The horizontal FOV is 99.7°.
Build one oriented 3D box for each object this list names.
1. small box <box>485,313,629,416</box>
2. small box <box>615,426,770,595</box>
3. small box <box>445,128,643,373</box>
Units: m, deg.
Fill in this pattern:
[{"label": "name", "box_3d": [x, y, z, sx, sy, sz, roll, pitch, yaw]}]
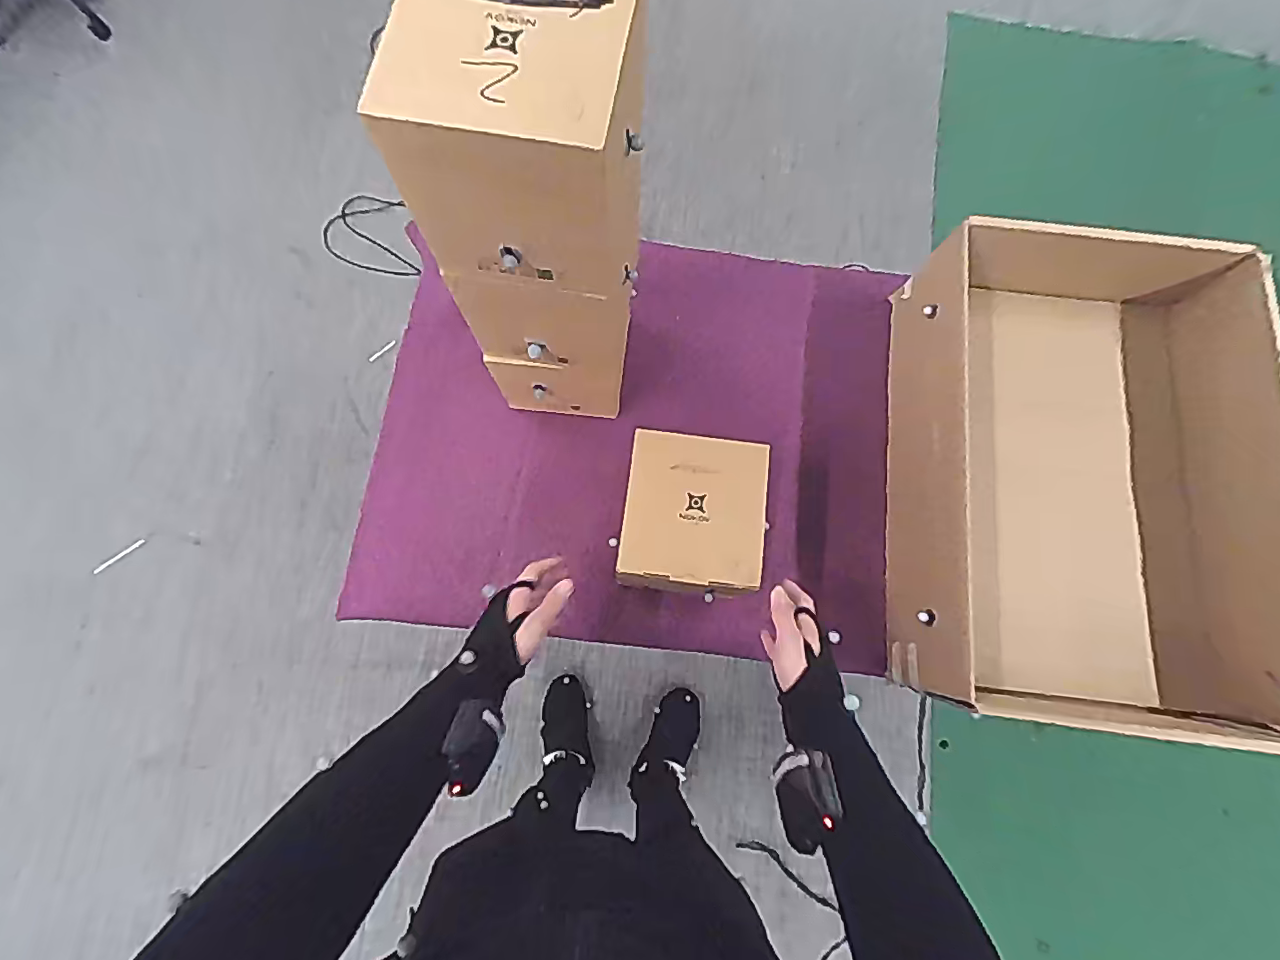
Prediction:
[{"label": "small box", "box_3d": [-0.106, -0.203, 0.770, 0.168, 0.176, 0.179, 6, 75, 0]}, {"label": "small box", "box_3d": [0.062, 0.050, 0.706, 0.168, 0.176, 0.179, 8, 74, 0]}, {"label": "small box", "box_3d": [-0.094, -0.246, 0.612, 0.168, 0.176, 0.179, 10, 76, 2]}]
